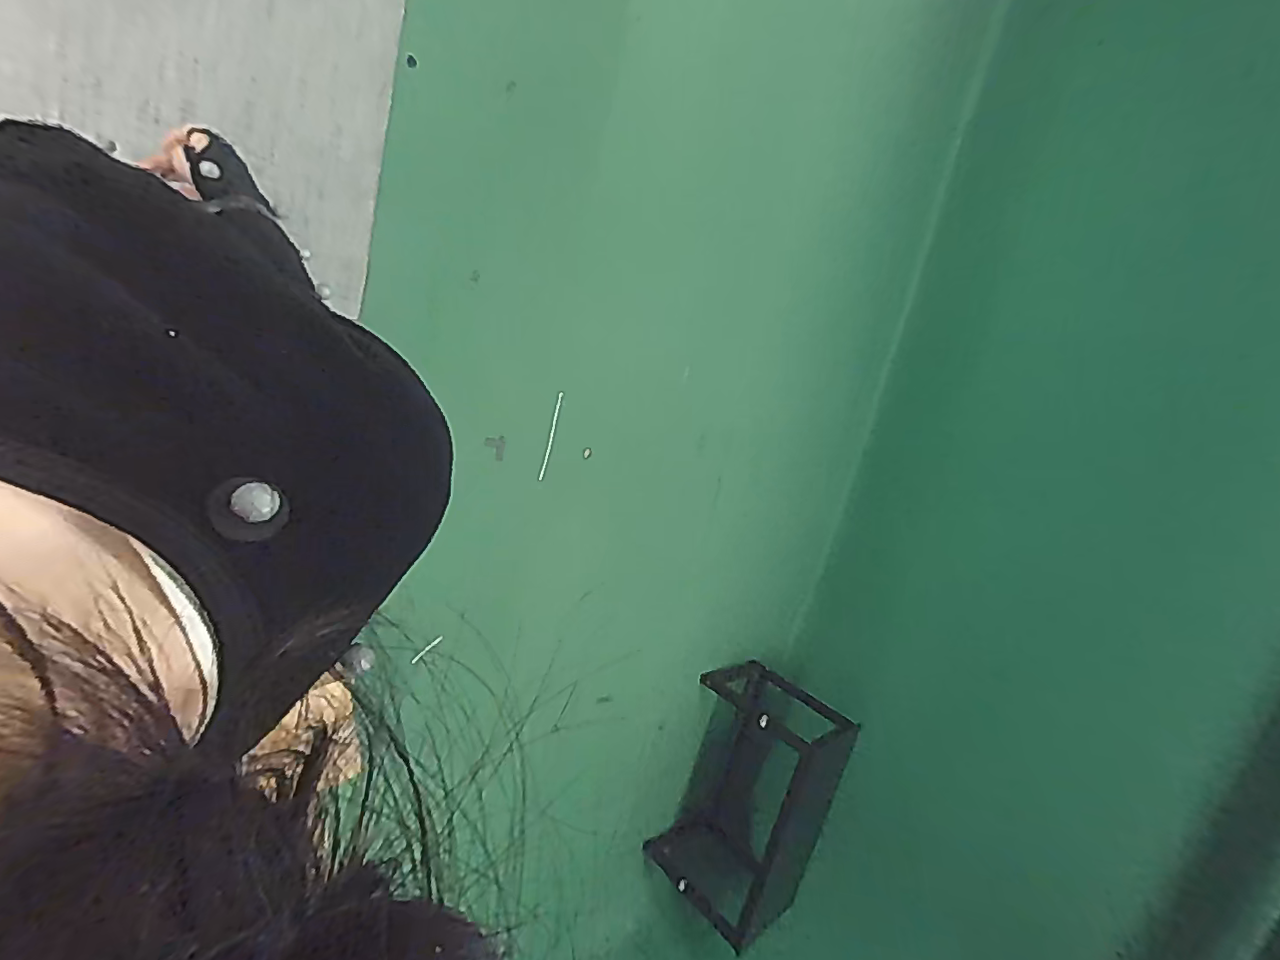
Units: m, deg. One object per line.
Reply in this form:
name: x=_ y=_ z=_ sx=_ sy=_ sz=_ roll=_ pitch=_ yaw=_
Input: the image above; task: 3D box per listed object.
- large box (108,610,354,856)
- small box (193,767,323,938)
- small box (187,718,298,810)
large box: x=-0.987 y=0.583 z=1.330 sx=0.408 sy=0.320 sz=0.320 roll=-16 pitch=120 yaw=-42
small box: x=-0.728 y=0.693 z=1.033 sx=0.179 sy=0.176 sz=0.168 roll=-6 pitch=113 yaw=-43
small box: x=-0.835 y=0.636 z=1.140 sx=0.168 sy=0.176 sz=0.179 roll=-8 pitch=114 yaw=-43
